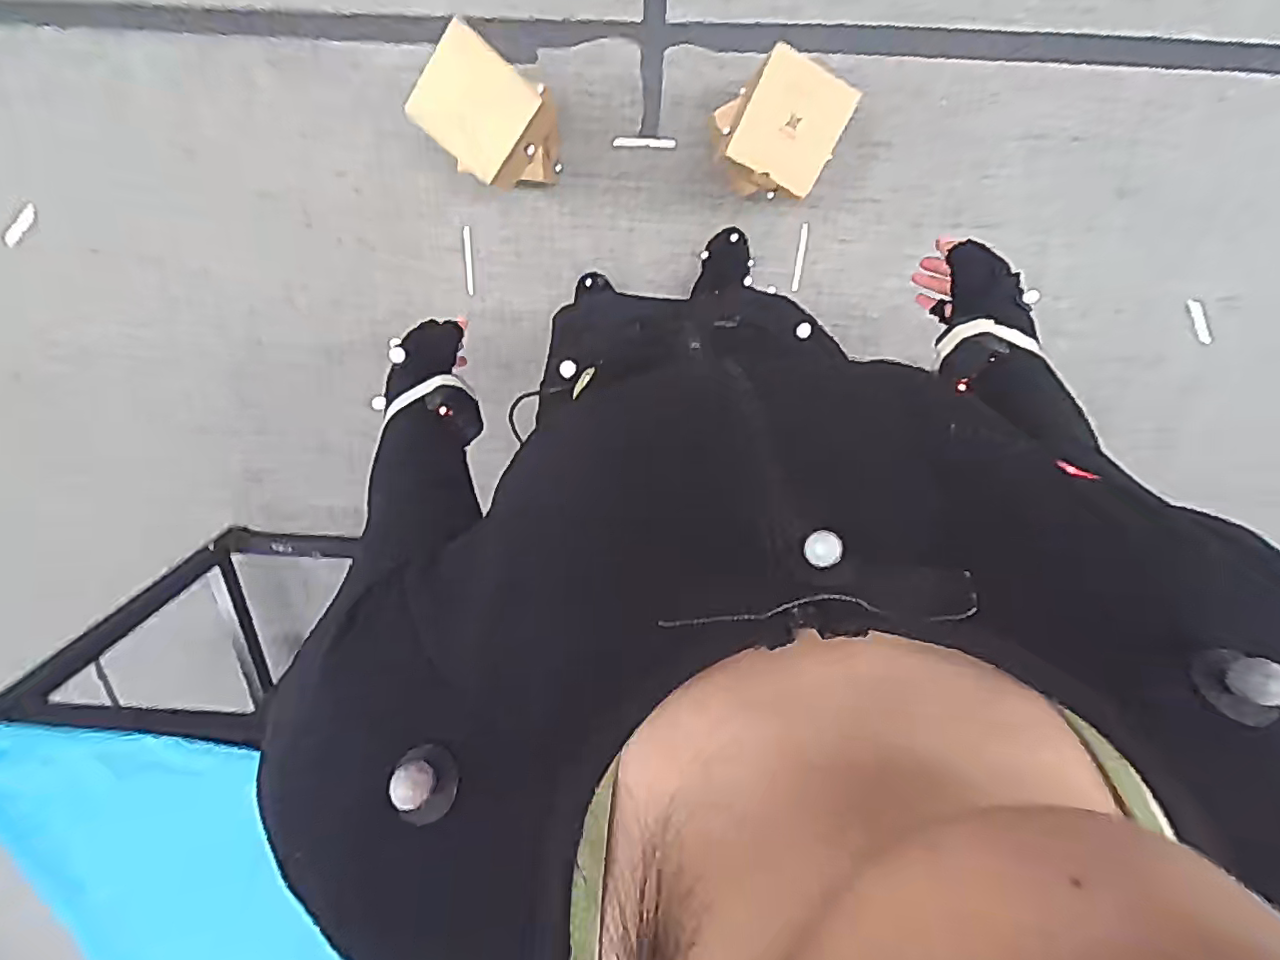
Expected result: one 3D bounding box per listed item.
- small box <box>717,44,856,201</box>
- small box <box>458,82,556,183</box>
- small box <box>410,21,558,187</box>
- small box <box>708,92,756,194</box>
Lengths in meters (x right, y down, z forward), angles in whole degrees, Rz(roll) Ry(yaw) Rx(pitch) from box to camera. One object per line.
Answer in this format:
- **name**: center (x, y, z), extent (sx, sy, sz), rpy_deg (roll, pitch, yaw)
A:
- **small box**: center (0.254, -0.637, 0.991), extent (0.168, 0.176, 0.179), rpy_deg (24, 114, -12)
- **small box**: center (-0.274, -0.730, 1.138), extent (0.179, 0.176, 0.168), rpy_deg (6, 116, -1)
- **small box**: center (-0.277, -0.667, 0.982), extent (0.179, 0.176, 0.168), rpy_deg (38, 111, -15)
- **small box**: center (0.251, -0.720, 1.132), extent (0.179, 0.176, 0.168), rpy_deg (-24, 115, 13)
